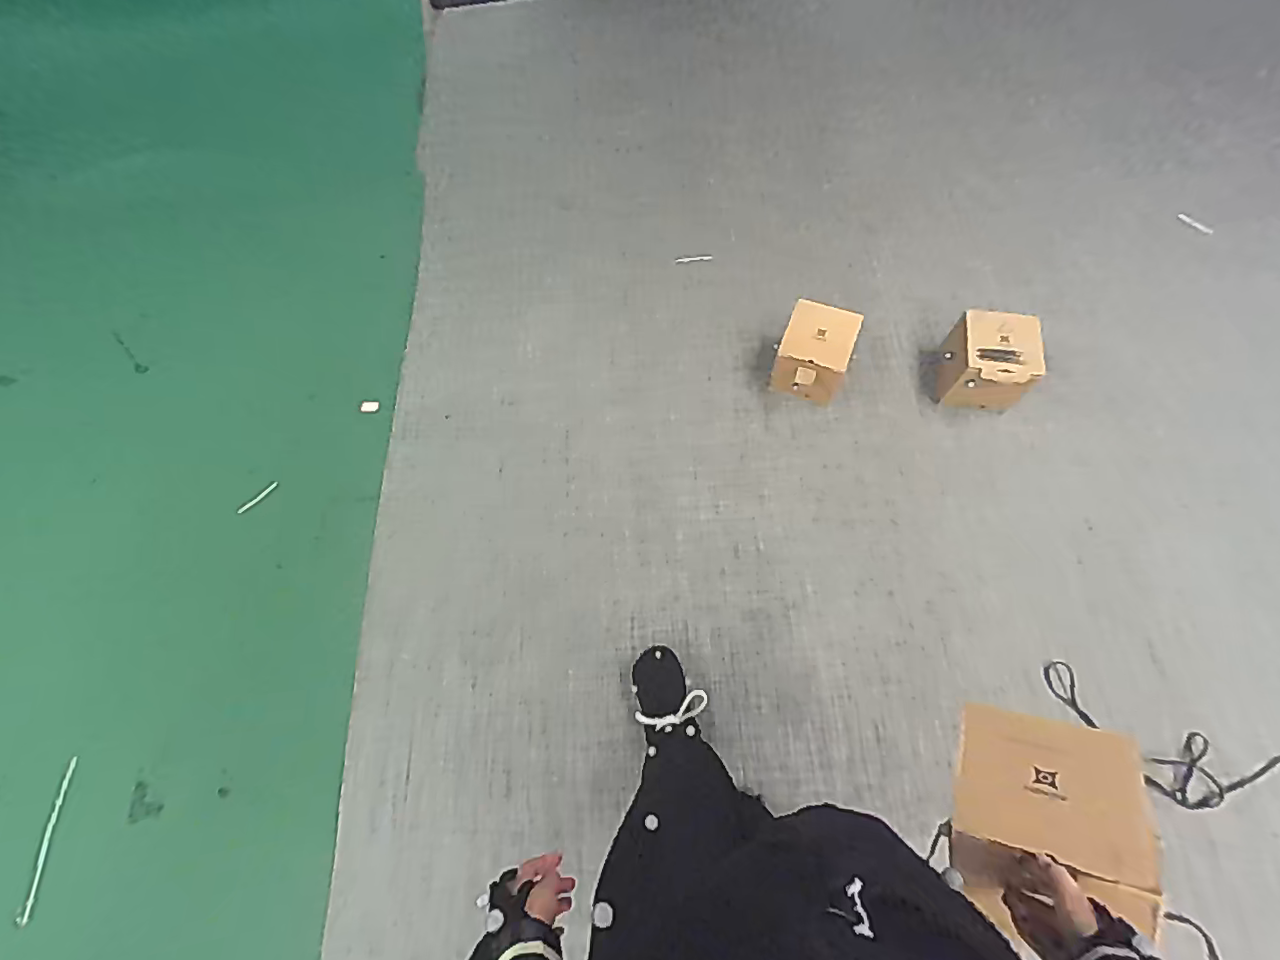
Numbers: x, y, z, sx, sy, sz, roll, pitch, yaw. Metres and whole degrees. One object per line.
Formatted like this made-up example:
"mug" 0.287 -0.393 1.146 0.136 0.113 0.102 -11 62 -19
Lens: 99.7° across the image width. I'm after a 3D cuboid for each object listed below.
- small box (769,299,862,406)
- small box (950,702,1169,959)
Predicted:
"small box" 0.438 -0.320 1.377 0.168 0.176 0.179 20 72 11
"small box" 0.444 0.388 0.592 0.168 0.176 0.179 3 28 34
